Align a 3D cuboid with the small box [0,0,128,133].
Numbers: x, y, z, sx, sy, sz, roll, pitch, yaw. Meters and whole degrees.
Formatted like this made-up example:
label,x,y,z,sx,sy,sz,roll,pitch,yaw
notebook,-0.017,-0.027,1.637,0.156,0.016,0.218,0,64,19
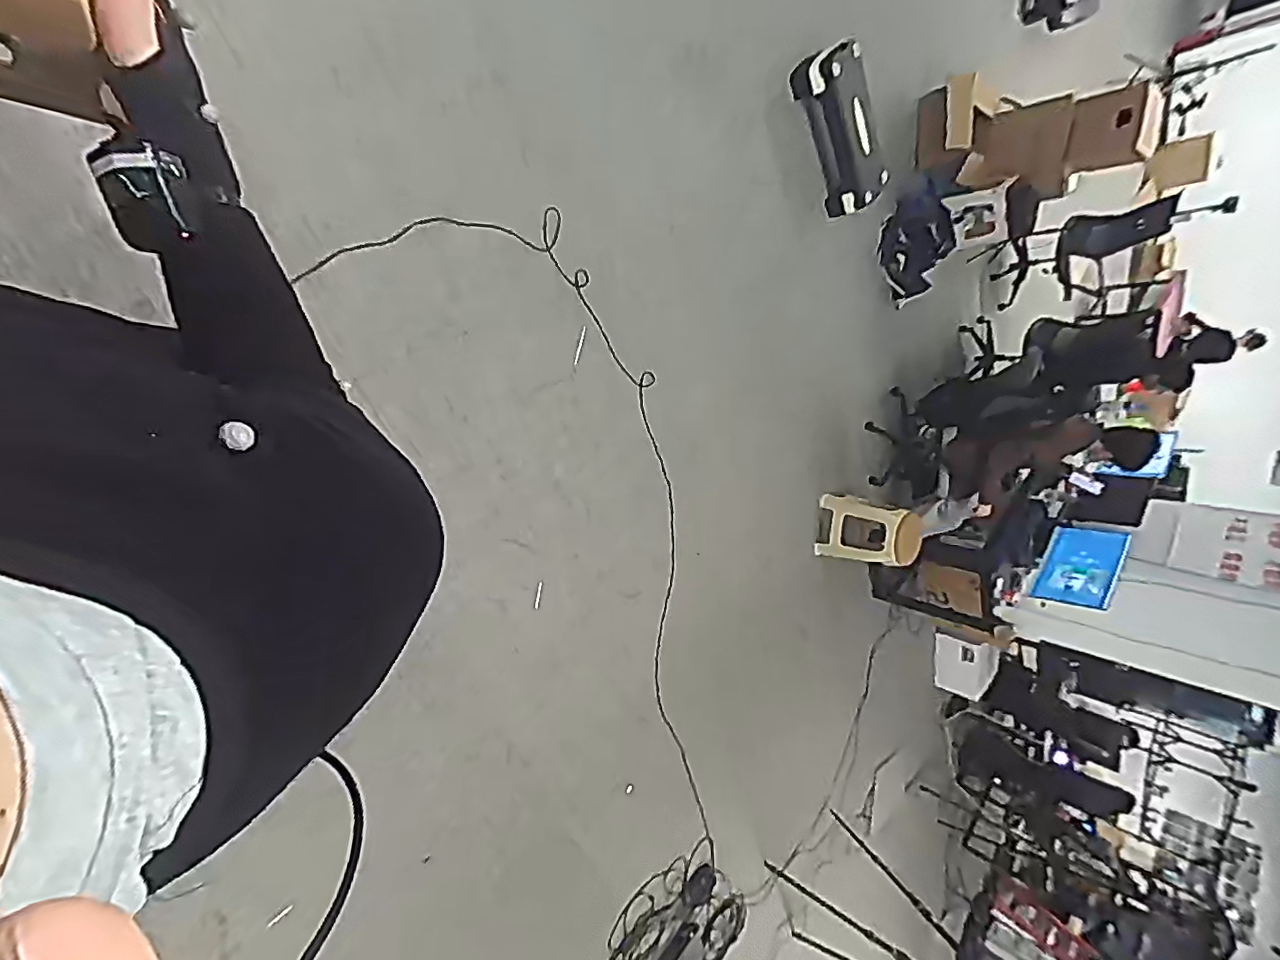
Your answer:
label,x,y,z,sx,sy,sz,roll,pitch,yaw
small box,-0.432,-0.356,0.328,0.168,0.176,0.179,-5,93,-42
